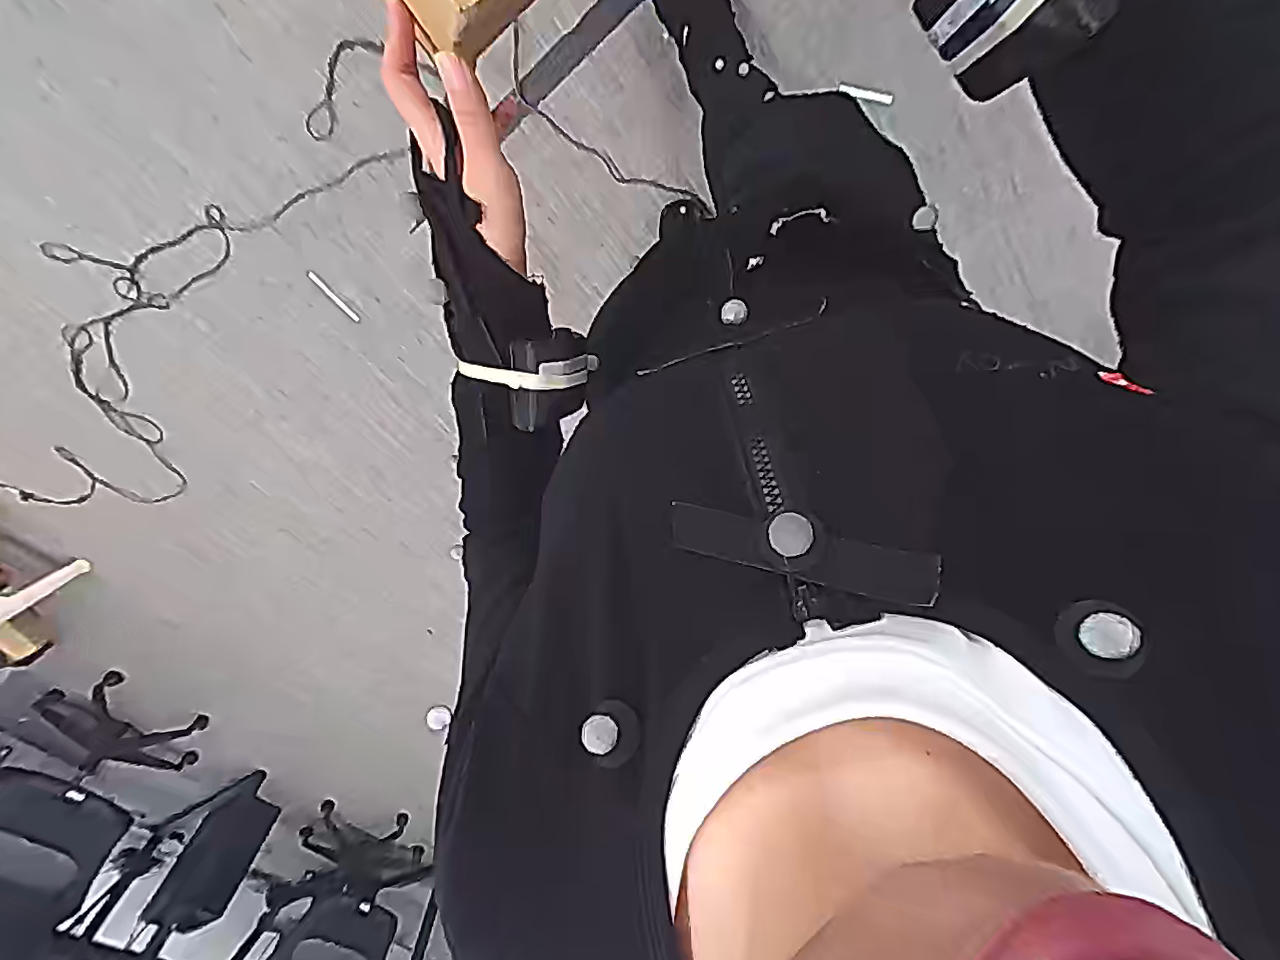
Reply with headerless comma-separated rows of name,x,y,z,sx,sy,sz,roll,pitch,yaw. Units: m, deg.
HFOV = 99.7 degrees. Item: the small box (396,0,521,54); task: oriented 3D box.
small box,-0.074,-0.326,0.221,0.179,0.176,0.168,-41,124,5
